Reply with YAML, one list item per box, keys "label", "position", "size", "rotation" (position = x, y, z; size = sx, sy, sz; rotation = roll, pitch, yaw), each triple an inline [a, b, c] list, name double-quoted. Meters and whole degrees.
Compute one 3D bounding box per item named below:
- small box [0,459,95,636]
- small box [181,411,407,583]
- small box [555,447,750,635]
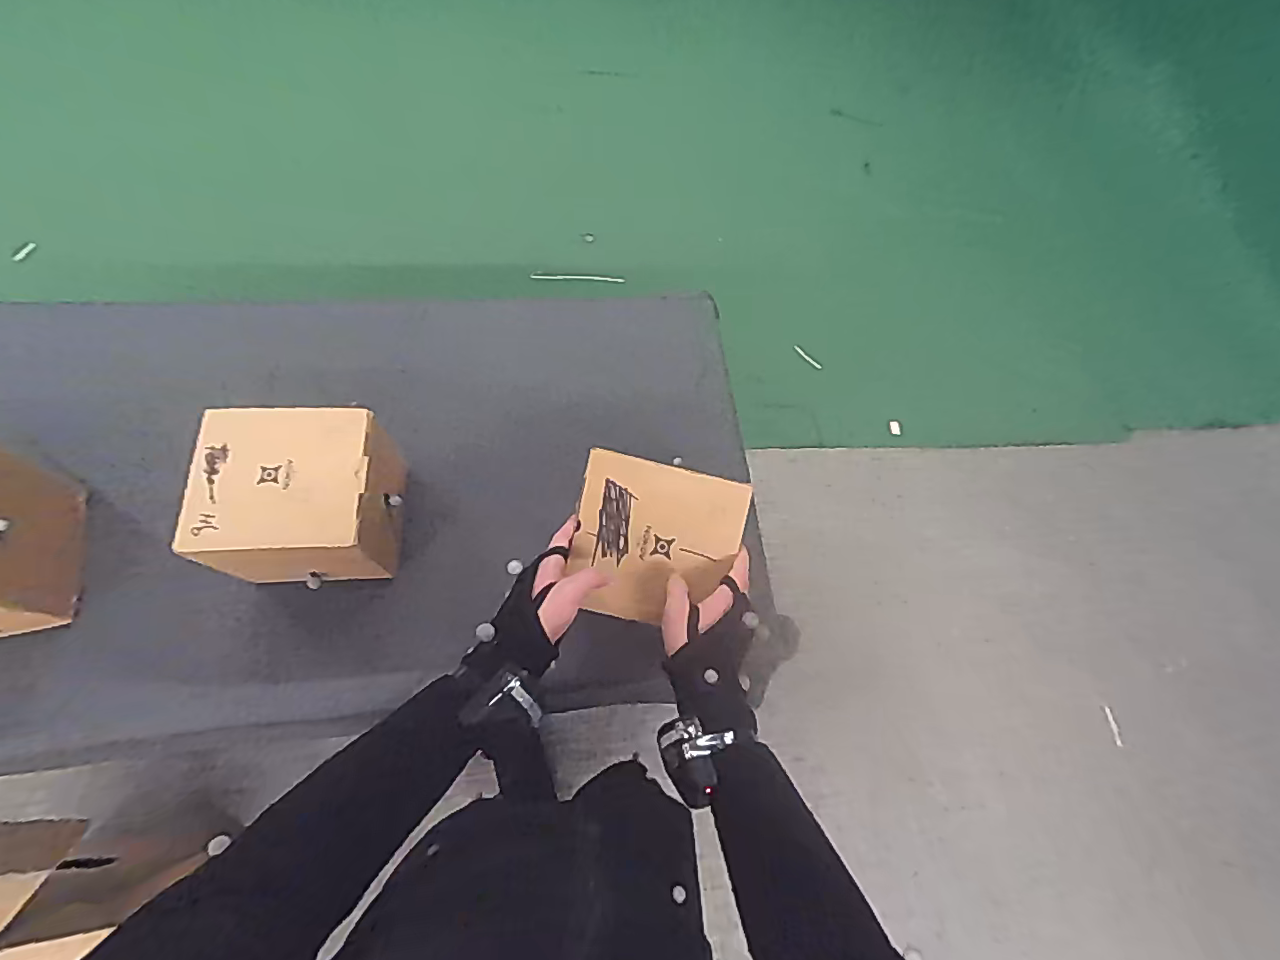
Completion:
- label: "small box"
  position: [-0.758, 0.081, 0.591]
  size: [0.168, 0.176, 0.179]
  rotation: [-10, 68, -14]
- label: "small box"
  position: [-0.399, 0.028, 0.664]
  size: [0.179, 0.176, 0.168]
  rotation: [-1, 68, -10]
- label: "small box"
  position: [0.013, 0.066, 0.640]
  size: [0.179, 0.176, 0.168]
  rotation: [13, 89, -1]
